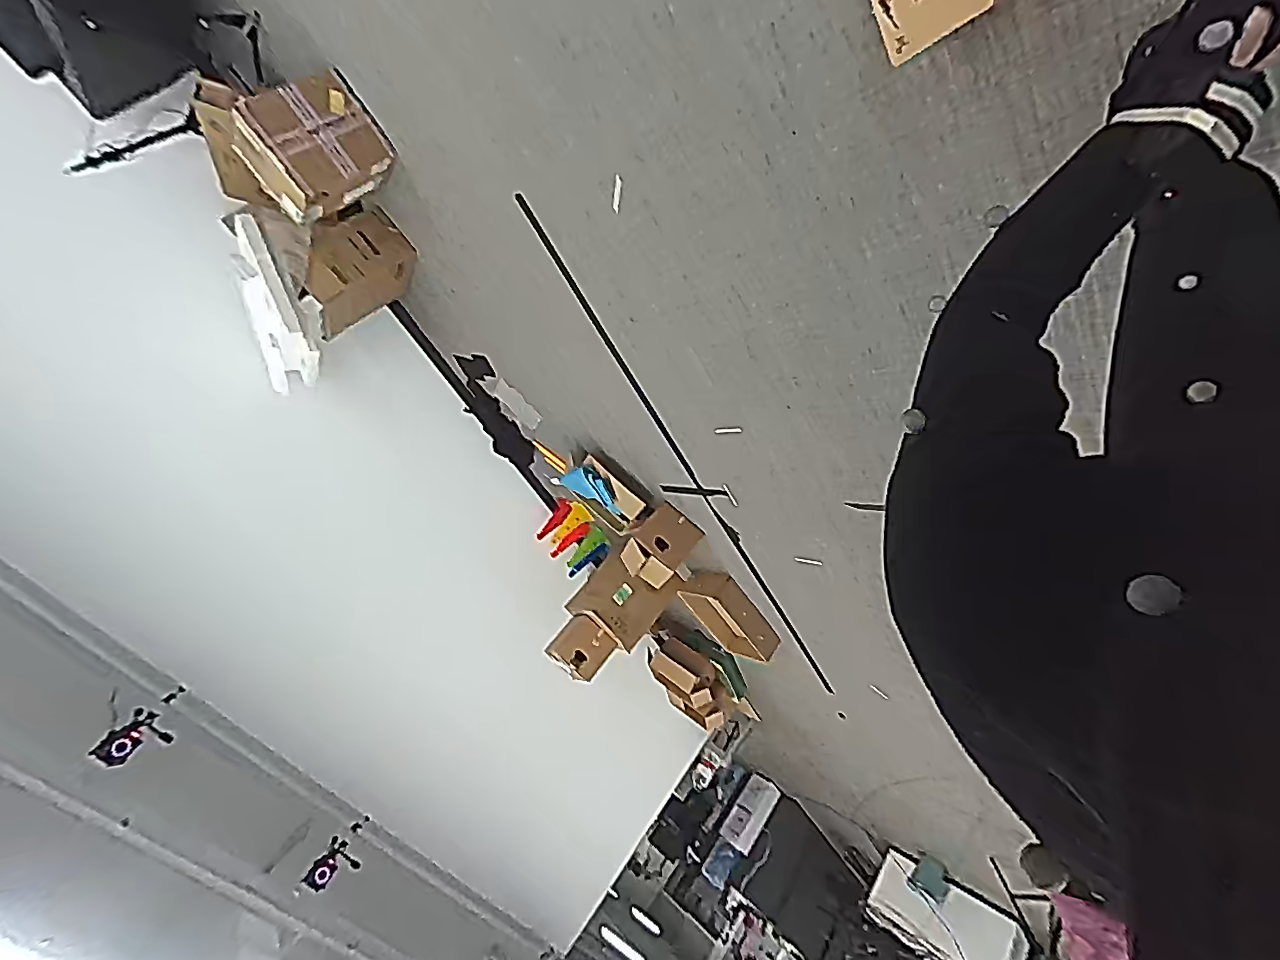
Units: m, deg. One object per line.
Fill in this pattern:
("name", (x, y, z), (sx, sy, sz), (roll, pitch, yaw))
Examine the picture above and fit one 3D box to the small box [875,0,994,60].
("small box", (0.527, -0.884, 0.929), (0.179, 0.176, 0.168), (1, 132, 55))
